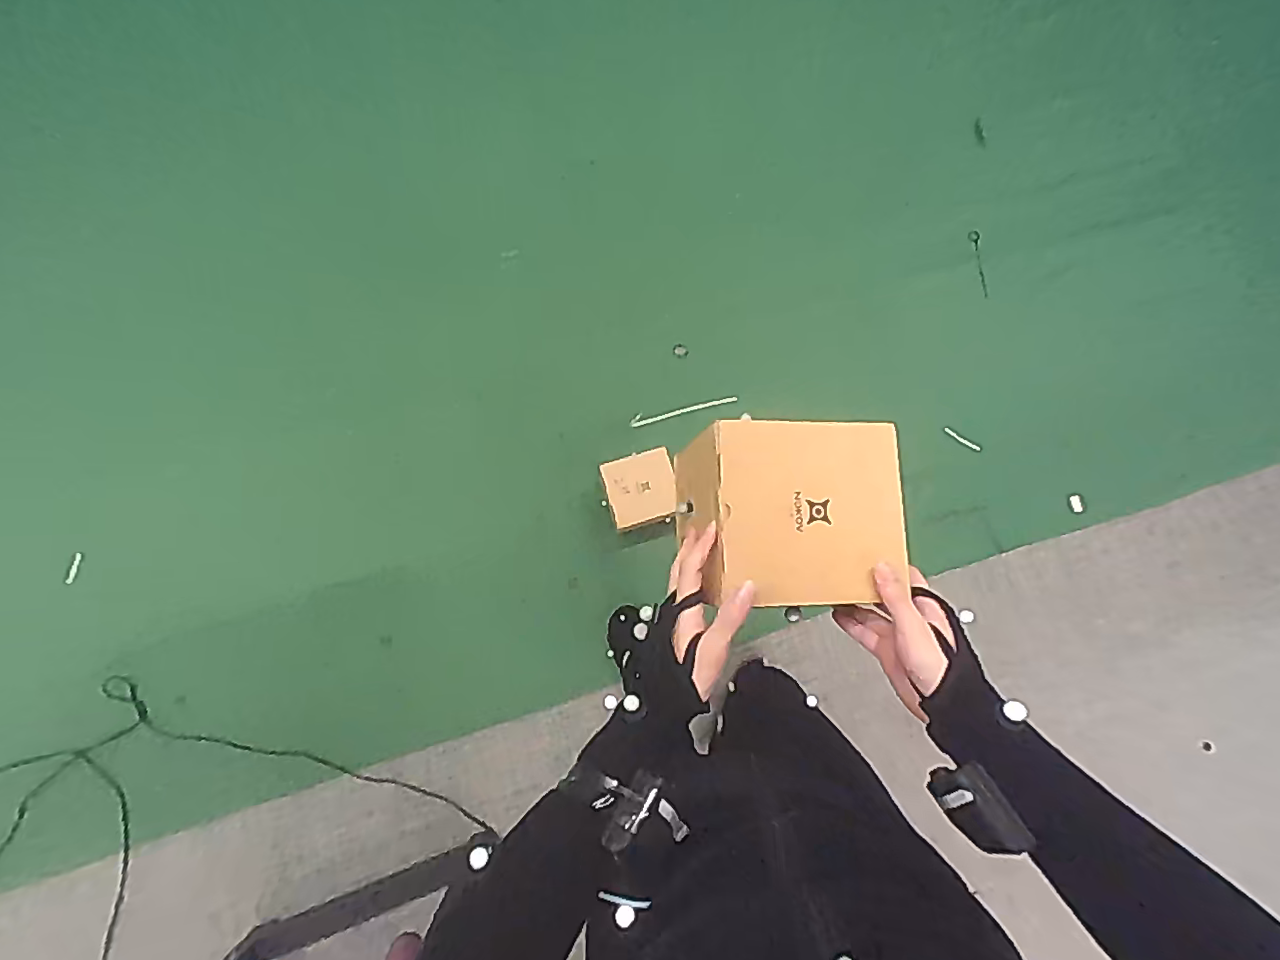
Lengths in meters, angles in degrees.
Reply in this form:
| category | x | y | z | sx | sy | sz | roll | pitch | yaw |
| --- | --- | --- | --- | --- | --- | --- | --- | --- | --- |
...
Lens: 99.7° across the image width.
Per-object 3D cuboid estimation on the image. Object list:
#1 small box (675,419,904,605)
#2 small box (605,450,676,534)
| category | x | y | z | sx | sy | sz | roll | pitch | yaw |
| --- | --- | --- | --- | --- | --- | --- | --- | --- | --- |
| small box | 0.140 | 0.038 | 0.562 | 0.179 | 0.176 | 0.168 | 0 | 81 | -8 |
| small box | 0.011 | 0.035 | 1.407 | 0.179 | 0.176 | 0.168 | -16 | 81 | -6 |
